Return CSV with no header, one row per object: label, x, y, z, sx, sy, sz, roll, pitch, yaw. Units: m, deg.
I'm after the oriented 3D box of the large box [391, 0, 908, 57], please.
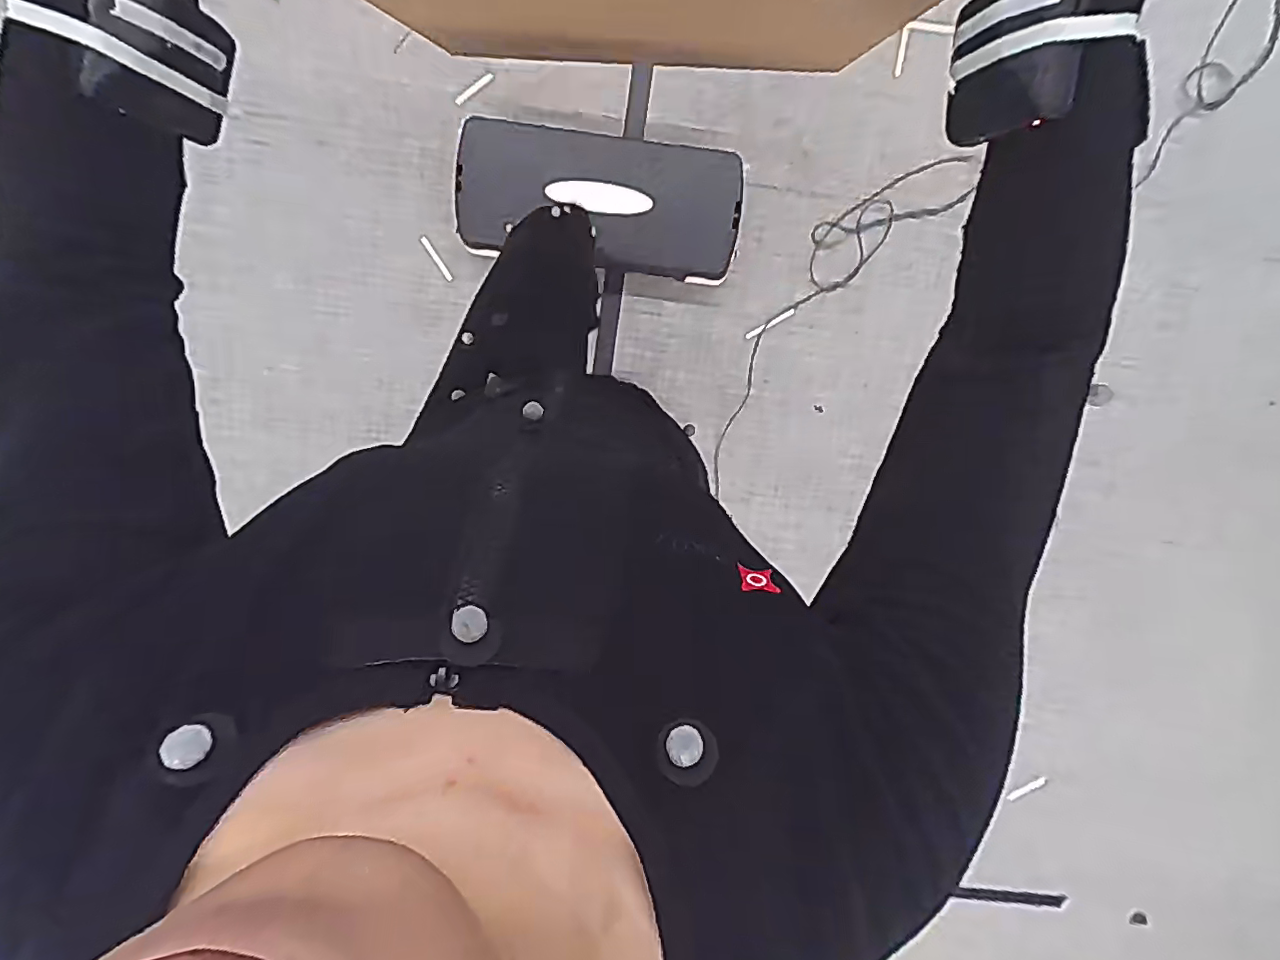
large box,0.006,-0.500,0.351,0.408,0.320,0.320,2,119,0
